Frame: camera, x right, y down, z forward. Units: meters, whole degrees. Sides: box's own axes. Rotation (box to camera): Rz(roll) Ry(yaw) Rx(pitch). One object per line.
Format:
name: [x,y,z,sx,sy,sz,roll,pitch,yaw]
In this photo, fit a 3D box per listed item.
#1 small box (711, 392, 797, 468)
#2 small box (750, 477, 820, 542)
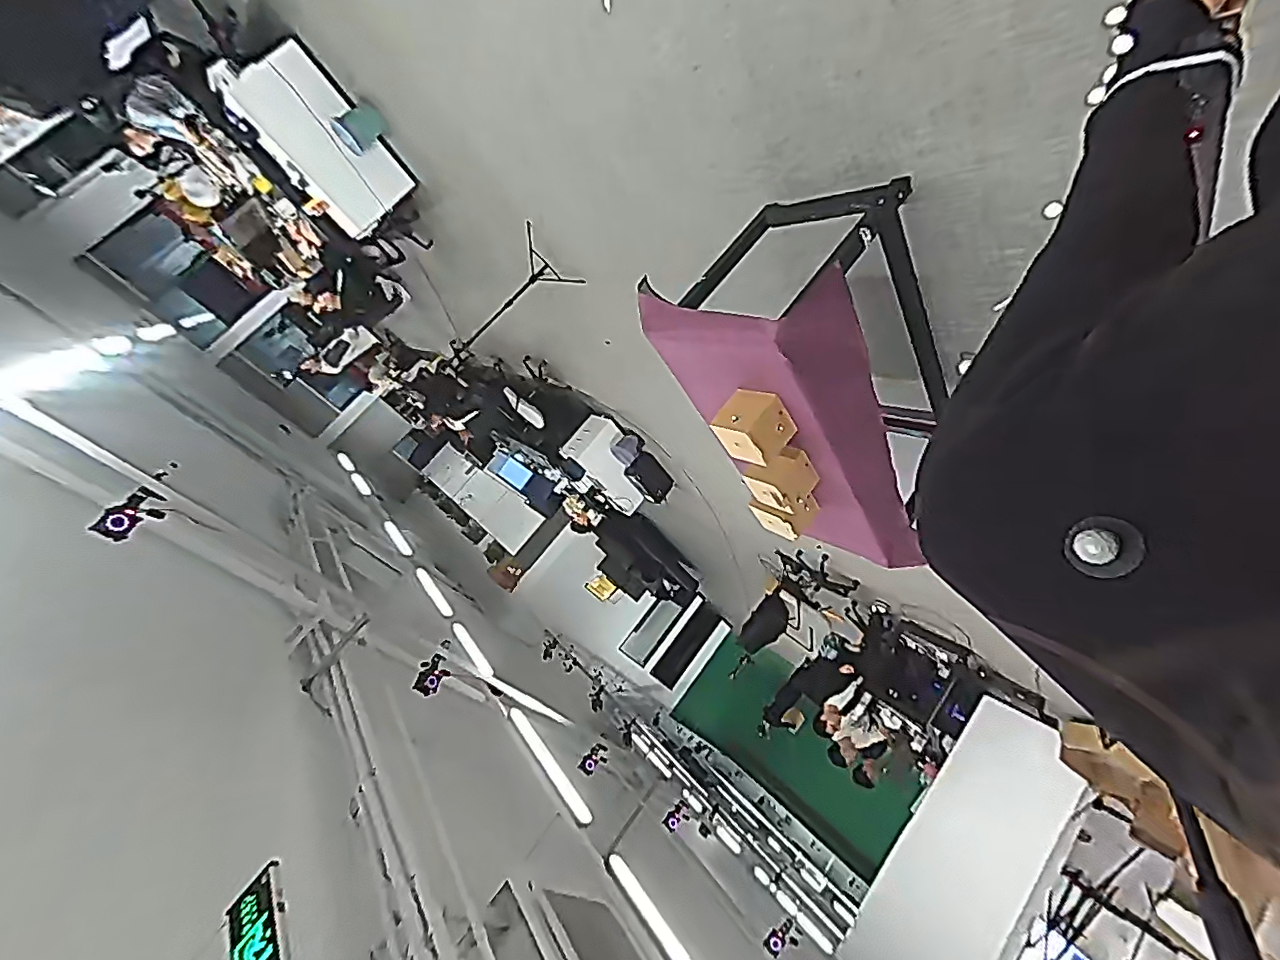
small box: [0.370,-0.167,1.746,0.179,0.176,0.168,22,159,53]
small box: [0.572,0.111,2.122,0.179,0.176,0.168,23,160,51]
